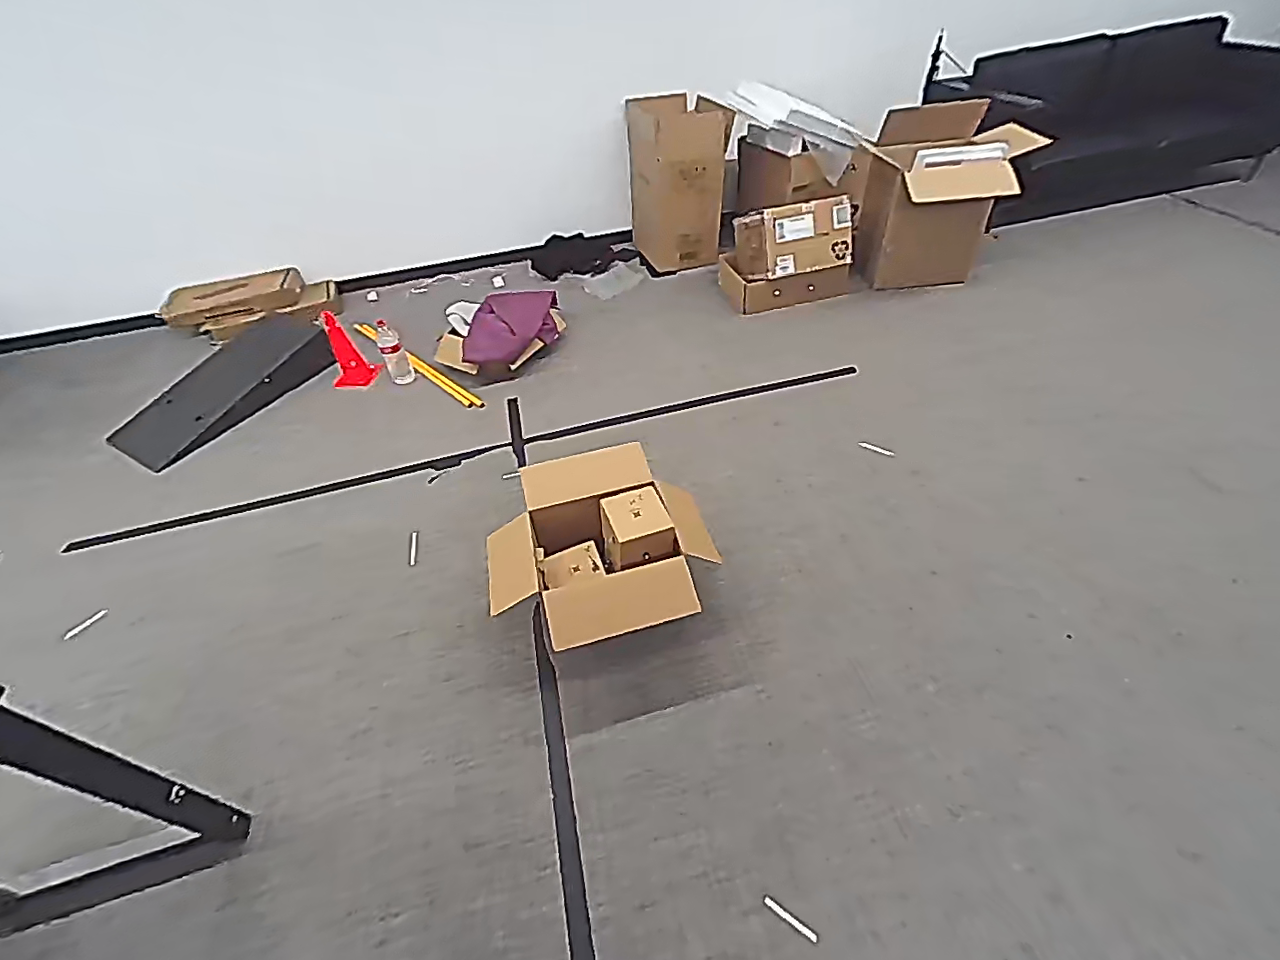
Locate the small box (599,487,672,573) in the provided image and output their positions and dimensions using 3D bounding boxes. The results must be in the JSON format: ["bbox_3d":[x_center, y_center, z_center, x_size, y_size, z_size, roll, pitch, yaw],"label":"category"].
[{"bbox_3d":[-0.013,0.154,1.594,0.168,0.176,0.179,-15,46,-15],"label":"small box"}]
